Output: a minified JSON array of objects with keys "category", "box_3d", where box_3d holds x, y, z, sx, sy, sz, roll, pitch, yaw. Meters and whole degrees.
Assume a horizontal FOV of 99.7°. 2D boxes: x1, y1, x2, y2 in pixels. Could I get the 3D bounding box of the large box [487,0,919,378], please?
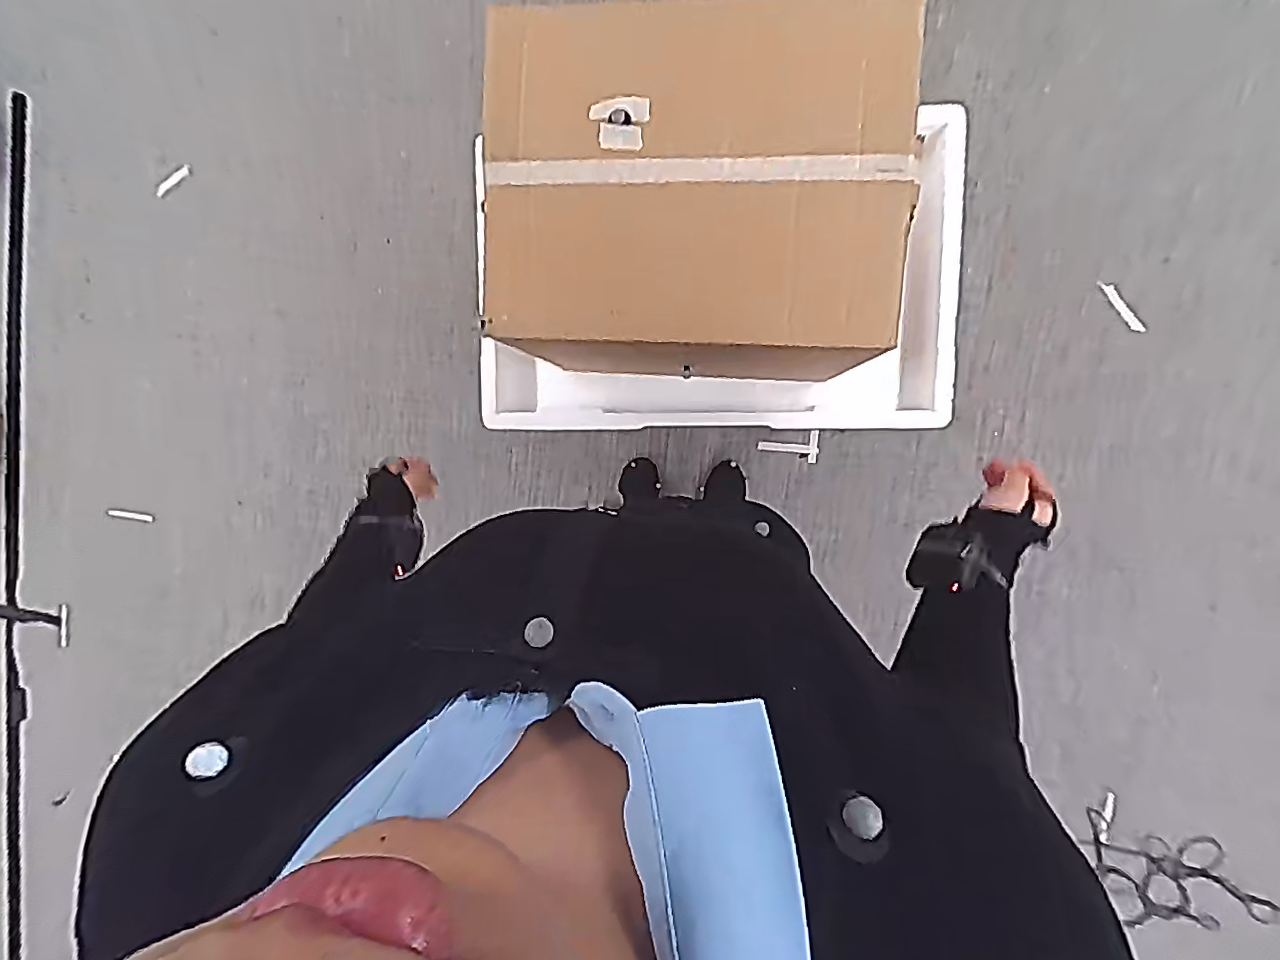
[{"category":"large box","box_3d":[0.068,-0.292,0.656,0.408,0.320,0.320,3,94,8]}]
